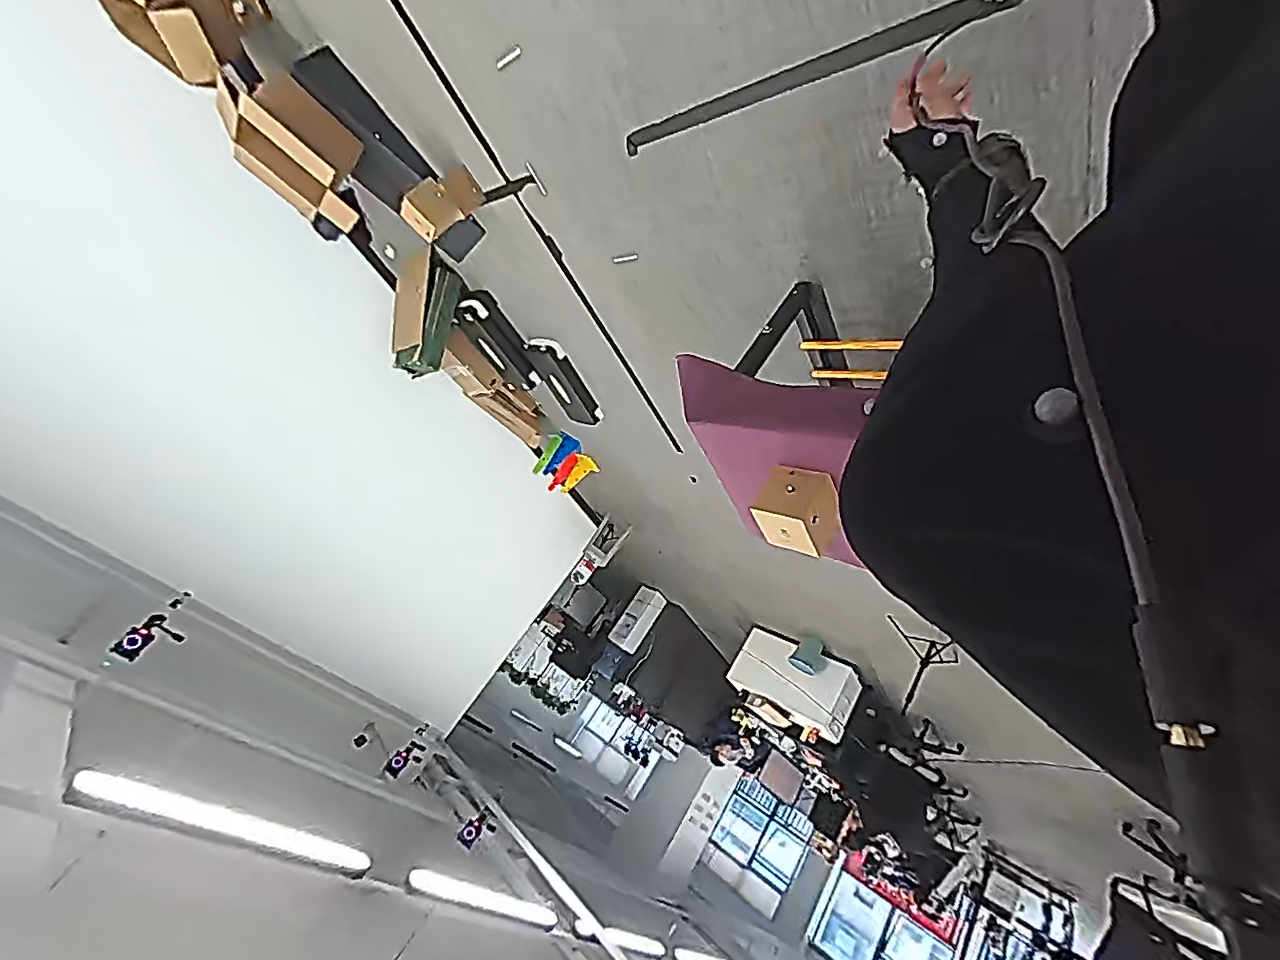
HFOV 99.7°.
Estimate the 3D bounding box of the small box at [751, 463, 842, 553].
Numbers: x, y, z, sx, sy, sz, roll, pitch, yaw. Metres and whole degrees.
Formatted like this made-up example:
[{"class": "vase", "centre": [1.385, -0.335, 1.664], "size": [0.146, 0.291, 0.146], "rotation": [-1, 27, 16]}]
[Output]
[{"class": "small box", "centre": [0.446, 0.073, 1.525], "size": [0.168, 0.176, 0.179], "rotation": [14, 150, 44]}]
